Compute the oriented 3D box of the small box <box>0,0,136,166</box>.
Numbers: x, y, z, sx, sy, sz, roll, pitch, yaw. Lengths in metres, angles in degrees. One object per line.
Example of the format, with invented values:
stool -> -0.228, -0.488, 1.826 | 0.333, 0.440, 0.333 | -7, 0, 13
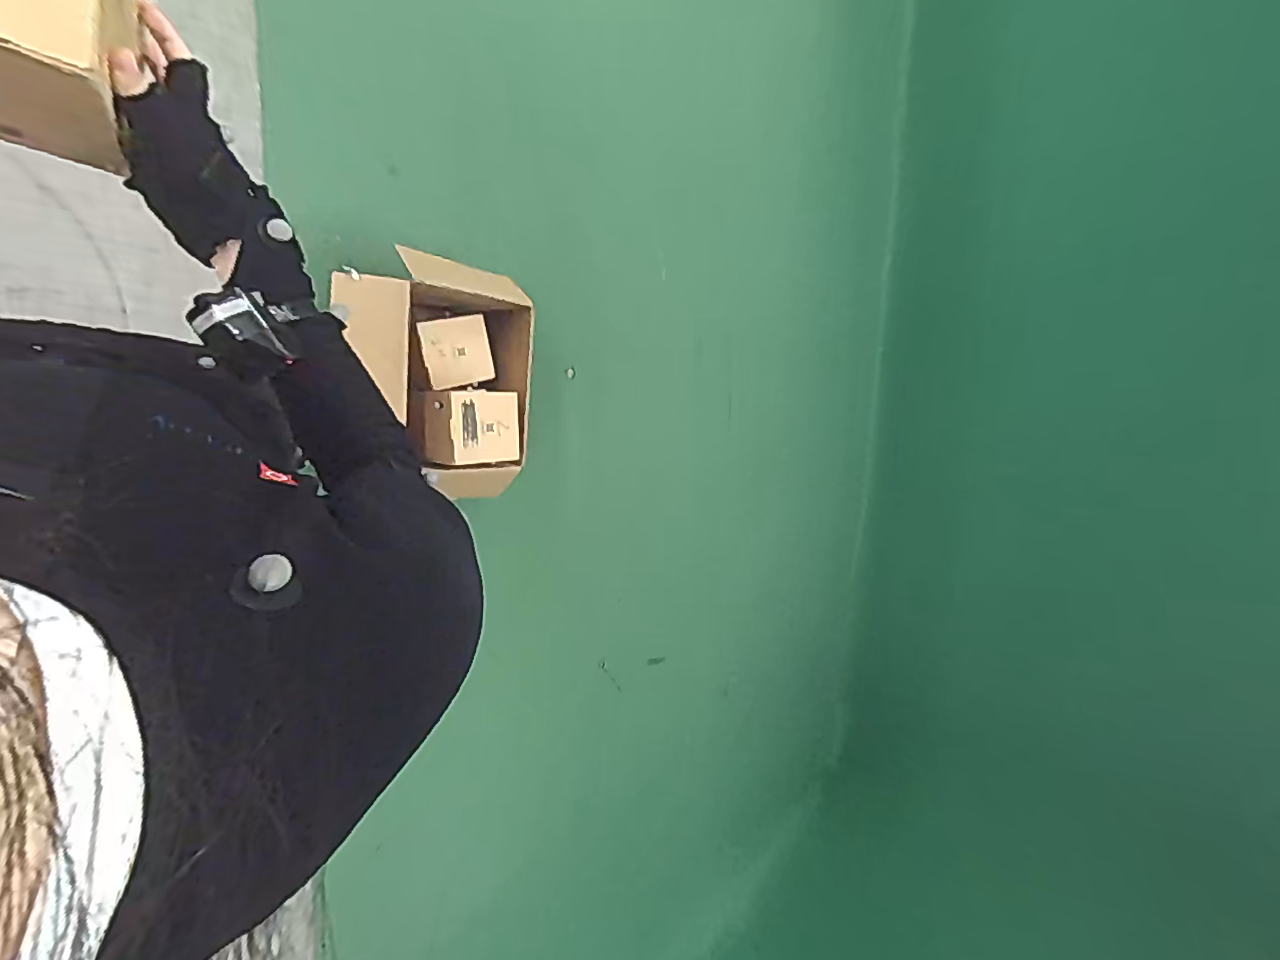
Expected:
small box -> -0.407, -0.318, 0.304 | 0.168, 0.176, 0.179 | 4, 96, -38
